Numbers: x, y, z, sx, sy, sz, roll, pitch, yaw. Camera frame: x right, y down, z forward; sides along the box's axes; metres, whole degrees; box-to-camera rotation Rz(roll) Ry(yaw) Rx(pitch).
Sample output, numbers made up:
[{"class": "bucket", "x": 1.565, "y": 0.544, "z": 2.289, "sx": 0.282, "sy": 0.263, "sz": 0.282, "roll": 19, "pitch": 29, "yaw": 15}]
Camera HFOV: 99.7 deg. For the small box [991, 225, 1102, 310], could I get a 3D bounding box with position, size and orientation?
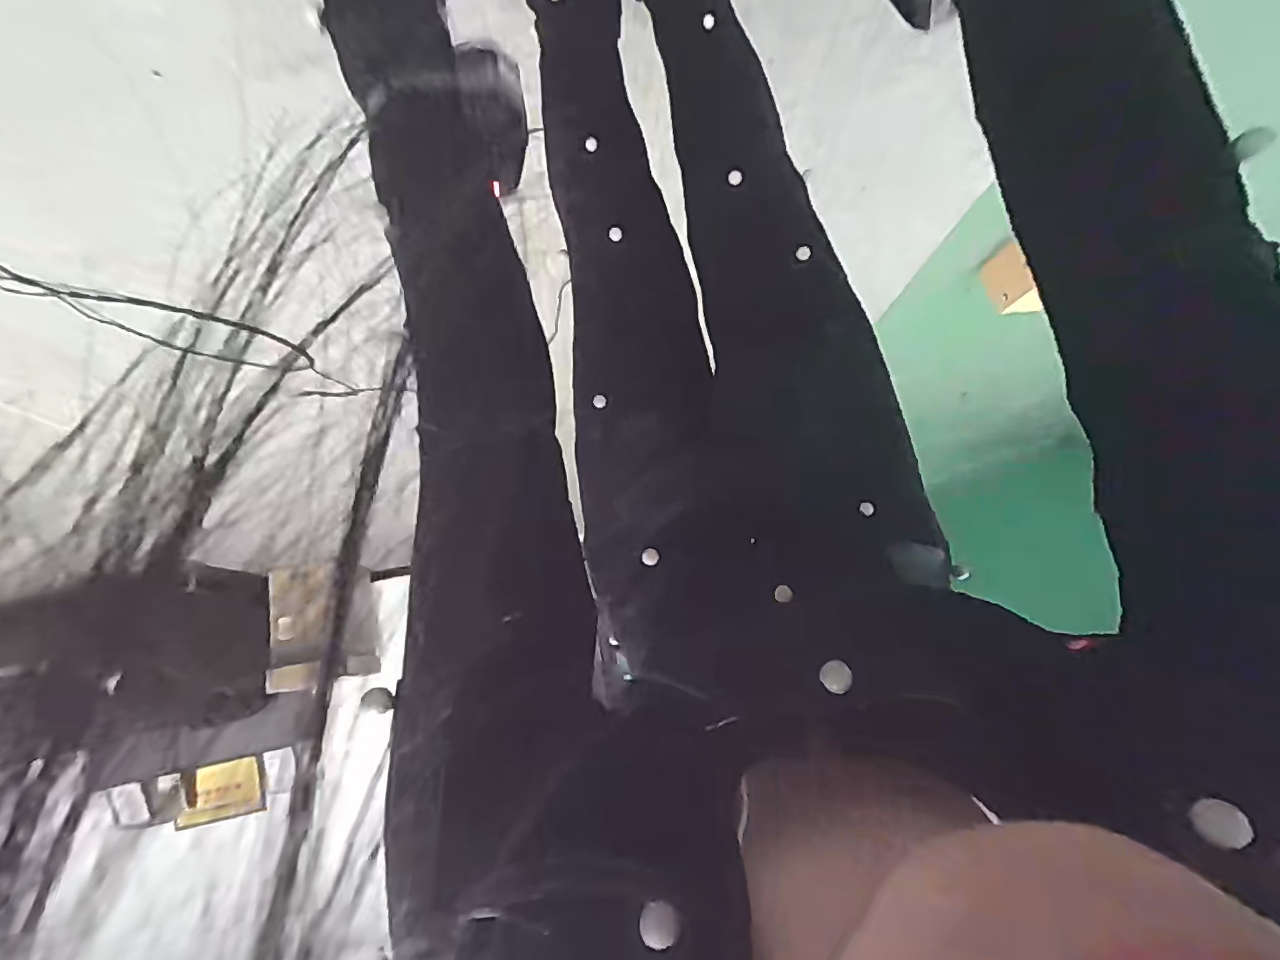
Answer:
[{"class": "small box", "x": 1.188, "y": -0.631, "z": 1.597, "sx": 0.168, "sy": 0.176, "sz": 0.179, "roll": -9, "pitch": 165, "yaw": -12}]
